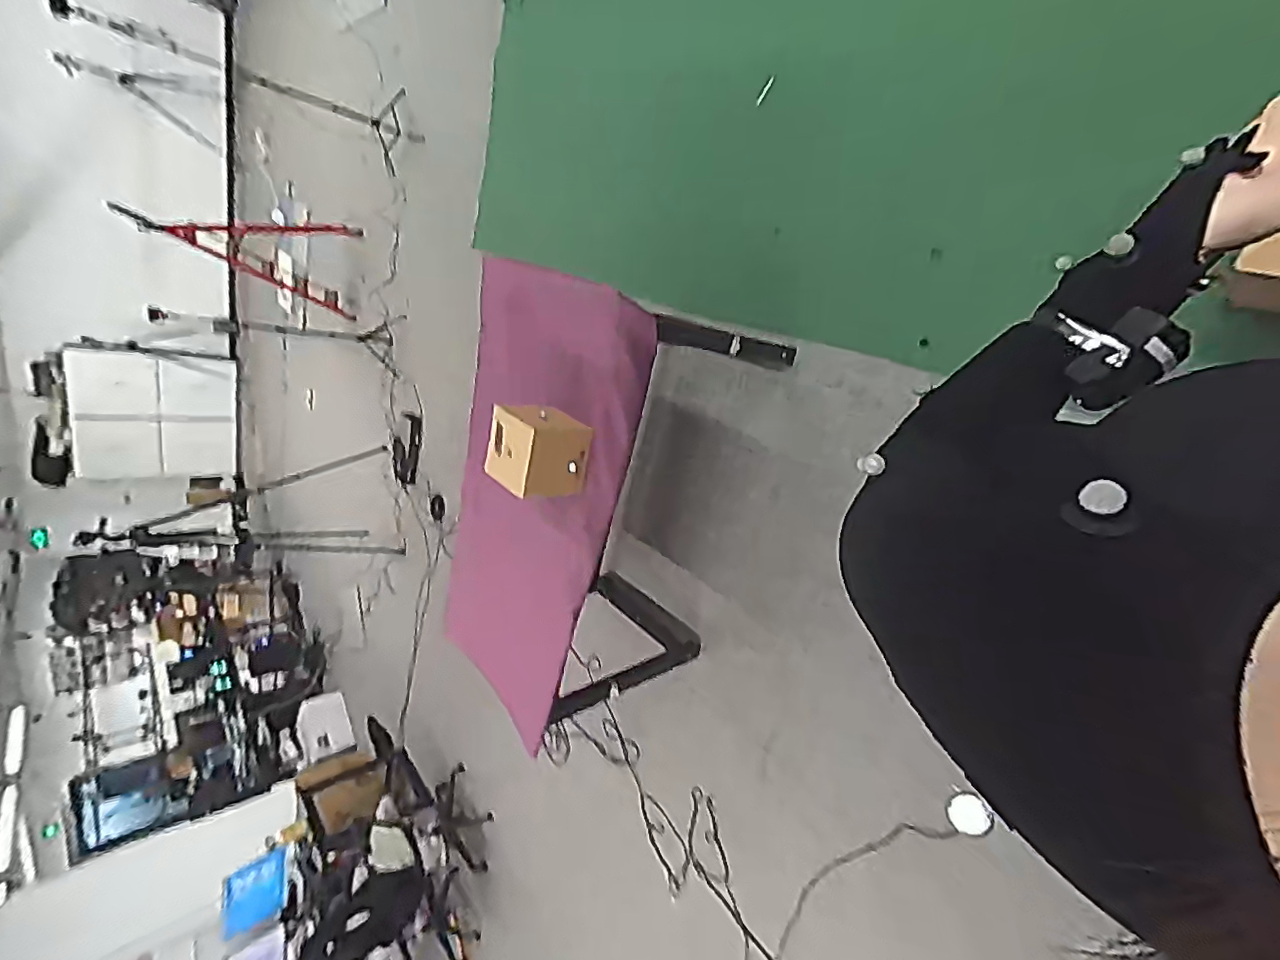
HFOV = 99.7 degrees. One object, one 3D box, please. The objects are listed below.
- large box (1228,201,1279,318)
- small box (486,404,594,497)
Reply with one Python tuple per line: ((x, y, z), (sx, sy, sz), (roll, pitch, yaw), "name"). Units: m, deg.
((1.177, -0.379, 0.749), (0.408, 0.320, 0.320), (32, 116, 39), "large box")
((-0.237, -0.072, 1.273), (0.179, 0.176, 0.168), (31, 115, 40), "small box")
